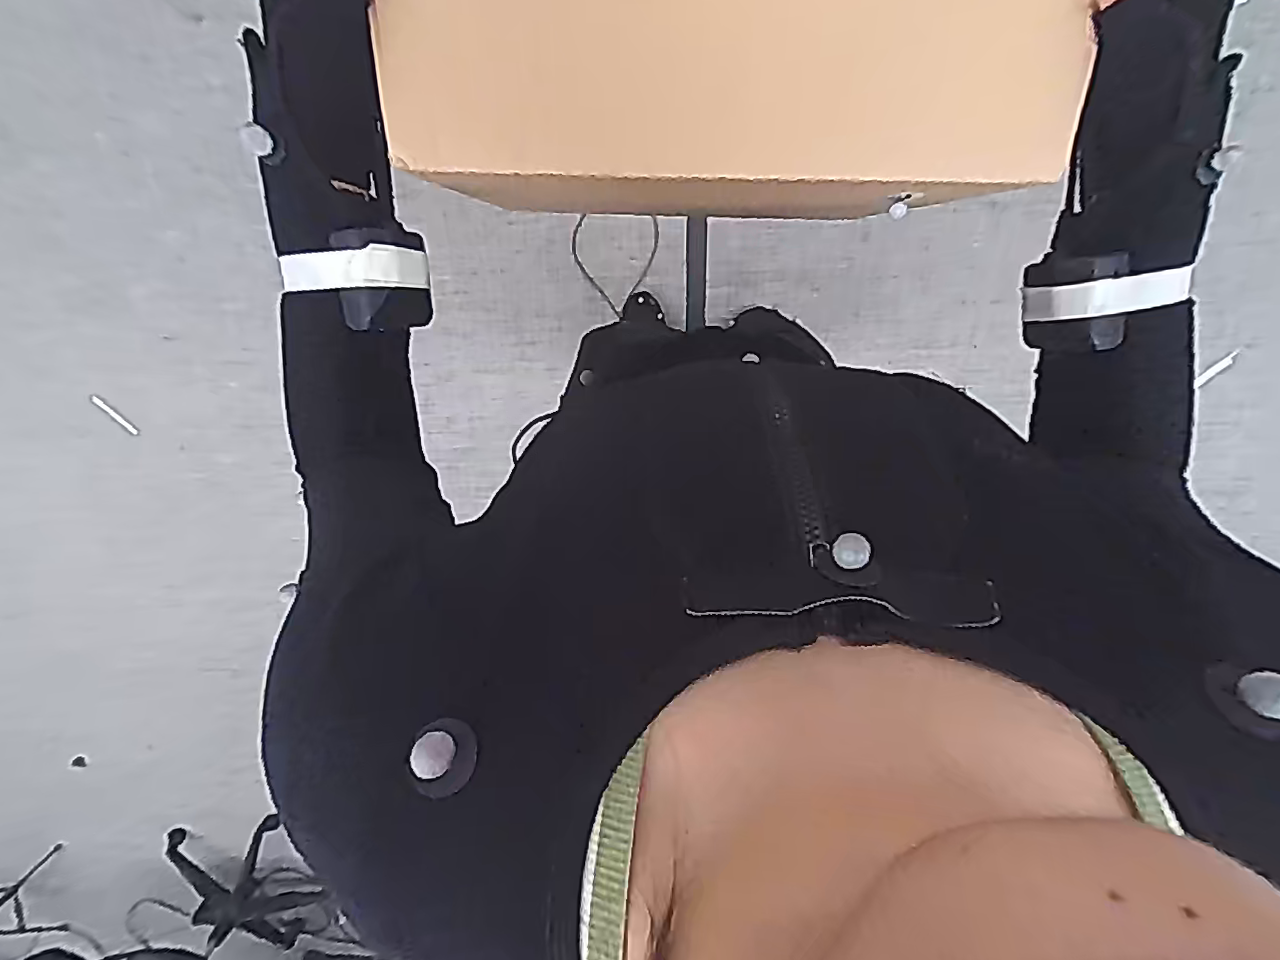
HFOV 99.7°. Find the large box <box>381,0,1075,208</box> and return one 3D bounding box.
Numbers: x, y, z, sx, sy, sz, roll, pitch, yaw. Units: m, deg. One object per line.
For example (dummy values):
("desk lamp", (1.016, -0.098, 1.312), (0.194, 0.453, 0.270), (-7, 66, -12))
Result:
("large box", (0.051, -0.390, 0.418), (0.408, 0.320, 0.320), (0, 112, -1))
